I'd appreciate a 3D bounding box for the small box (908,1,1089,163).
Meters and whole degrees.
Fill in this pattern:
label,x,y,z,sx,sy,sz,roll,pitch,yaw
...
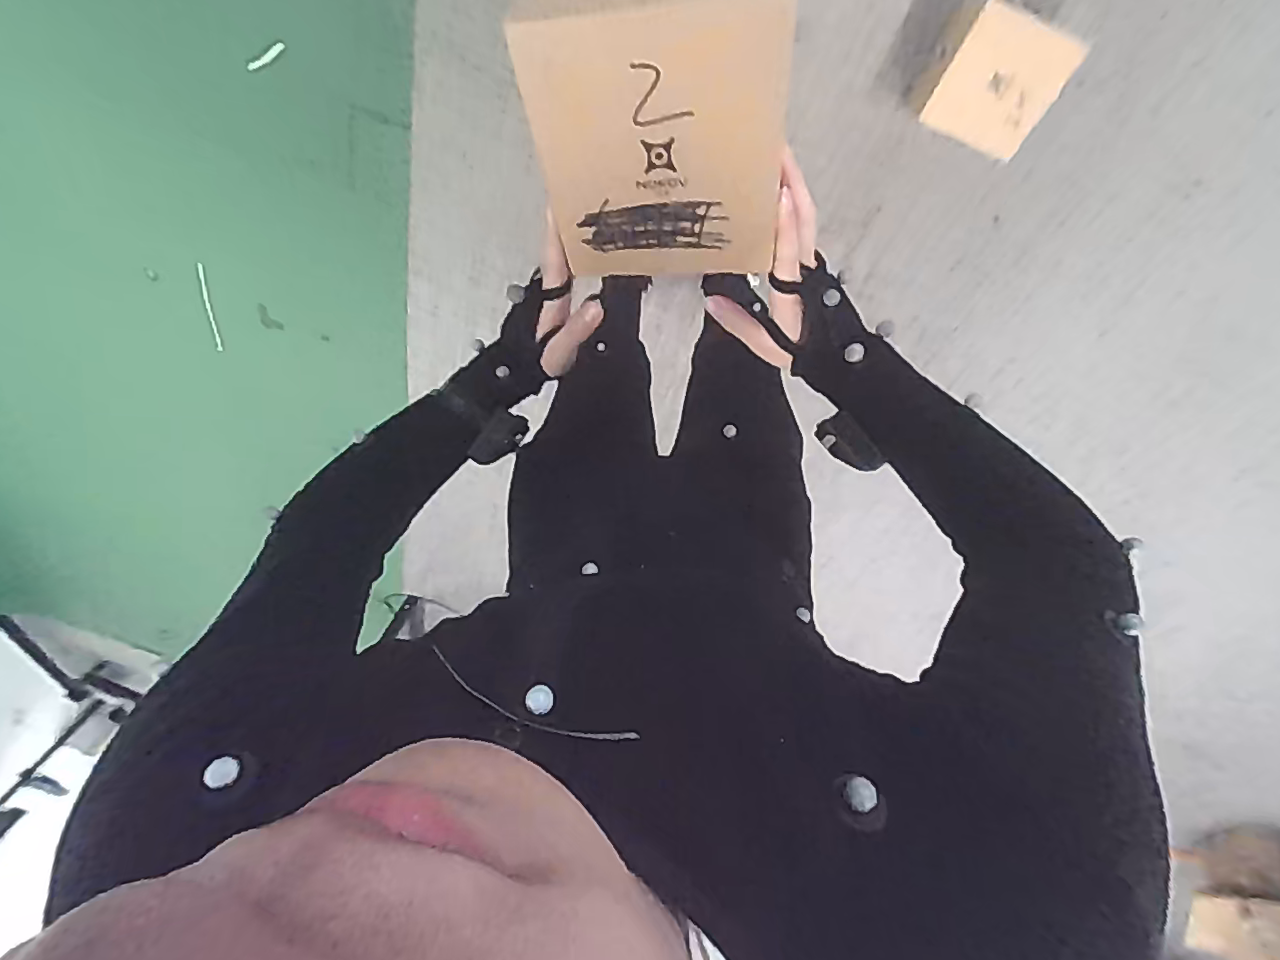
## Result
label,x,y,z,sx,sy,sz,roll,pitch,yaw
small box,0.588,-0.674,0.920,0.179,0.176,0.168,22,132,-4
